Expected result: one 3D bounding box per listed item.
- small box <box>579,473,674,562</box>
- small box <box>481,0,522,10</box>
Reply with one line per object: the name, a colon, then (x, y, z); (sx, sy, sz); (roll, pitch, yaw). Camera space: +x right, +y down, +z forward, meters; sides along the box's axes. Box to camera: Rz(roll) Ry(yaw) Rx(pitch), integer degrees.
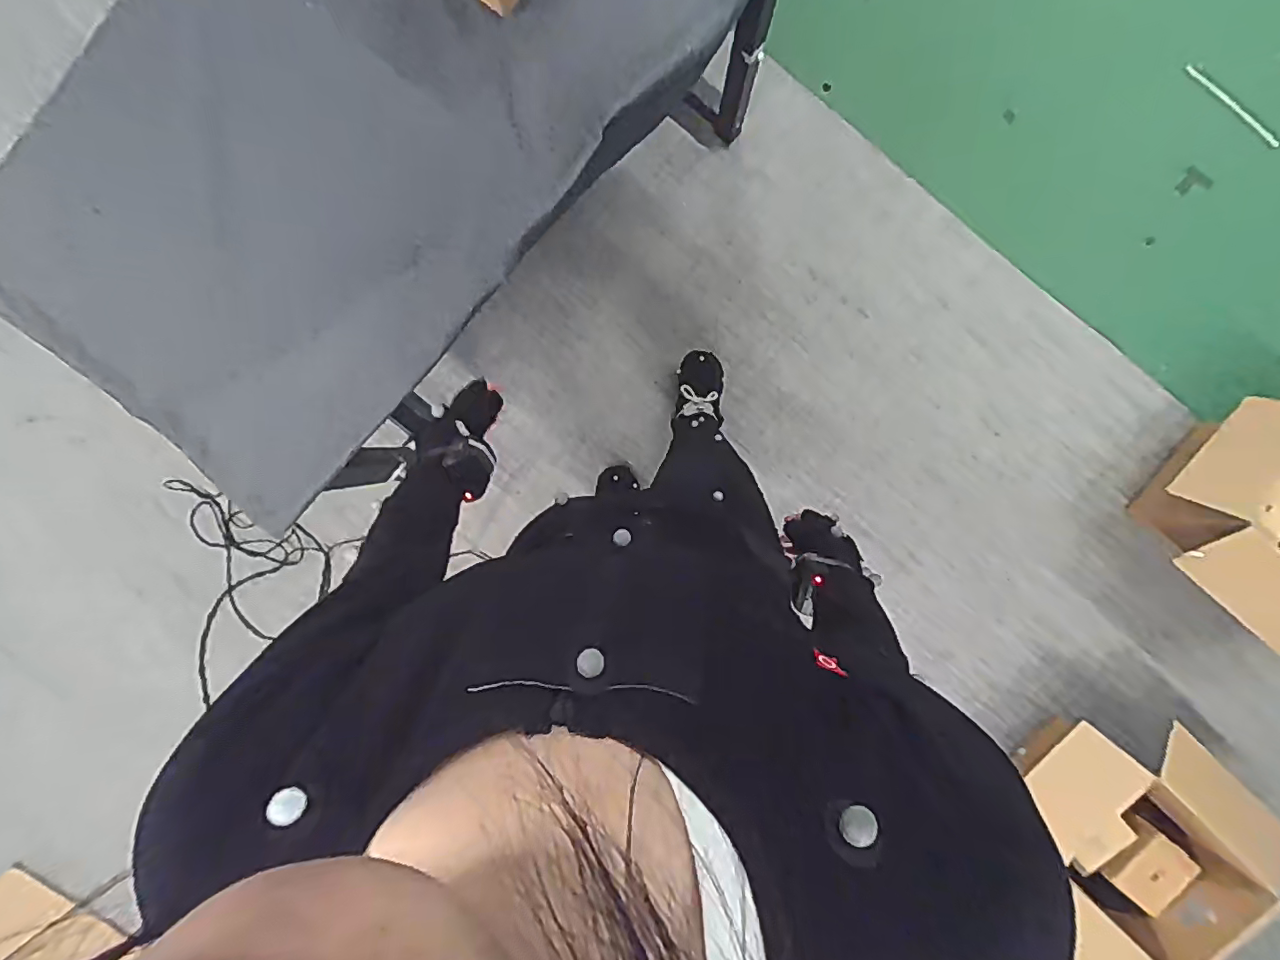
small box: (-0.041, 0.095, 1.432); (0.179, 0.176, 0.168); (30, 105, 18)
small box: (-0.199, -0.727, 0.639); (0.179, 0.176, 0.168); (37, 94, -1)
